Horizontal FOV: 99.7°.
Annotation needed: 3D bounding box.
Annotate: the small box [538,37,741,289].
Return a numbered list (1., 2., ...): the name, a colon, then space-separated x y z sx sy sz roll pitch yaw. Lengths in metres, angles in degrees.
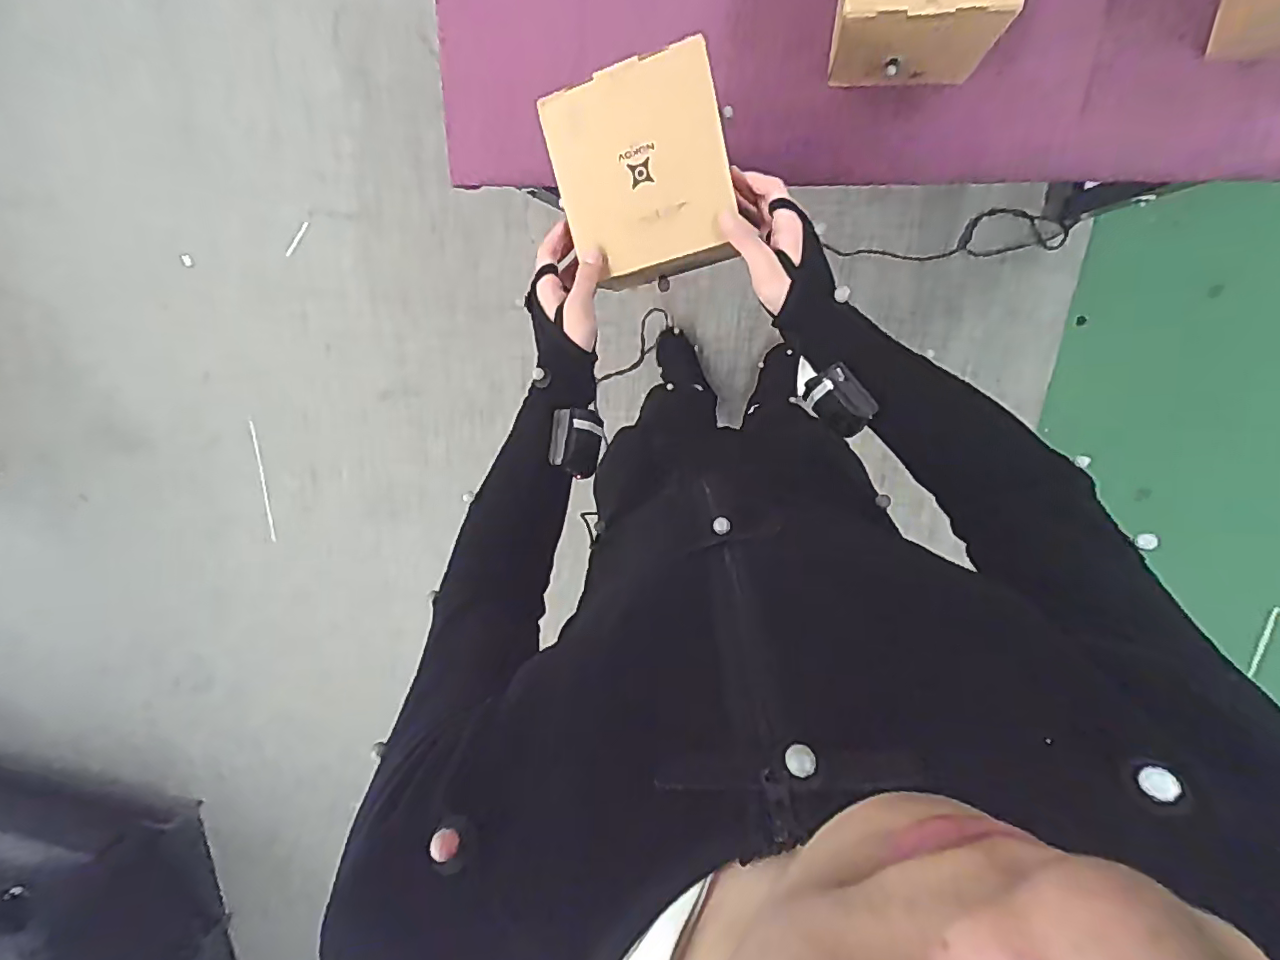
1. small box: 0.013 -0.318 0.589 0.168 0.176 0.179 -11 105 15

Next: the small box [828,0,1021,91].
1. small box: 0.308 -0.559 0.588 0.168 0.176 0.179 7 107 11
